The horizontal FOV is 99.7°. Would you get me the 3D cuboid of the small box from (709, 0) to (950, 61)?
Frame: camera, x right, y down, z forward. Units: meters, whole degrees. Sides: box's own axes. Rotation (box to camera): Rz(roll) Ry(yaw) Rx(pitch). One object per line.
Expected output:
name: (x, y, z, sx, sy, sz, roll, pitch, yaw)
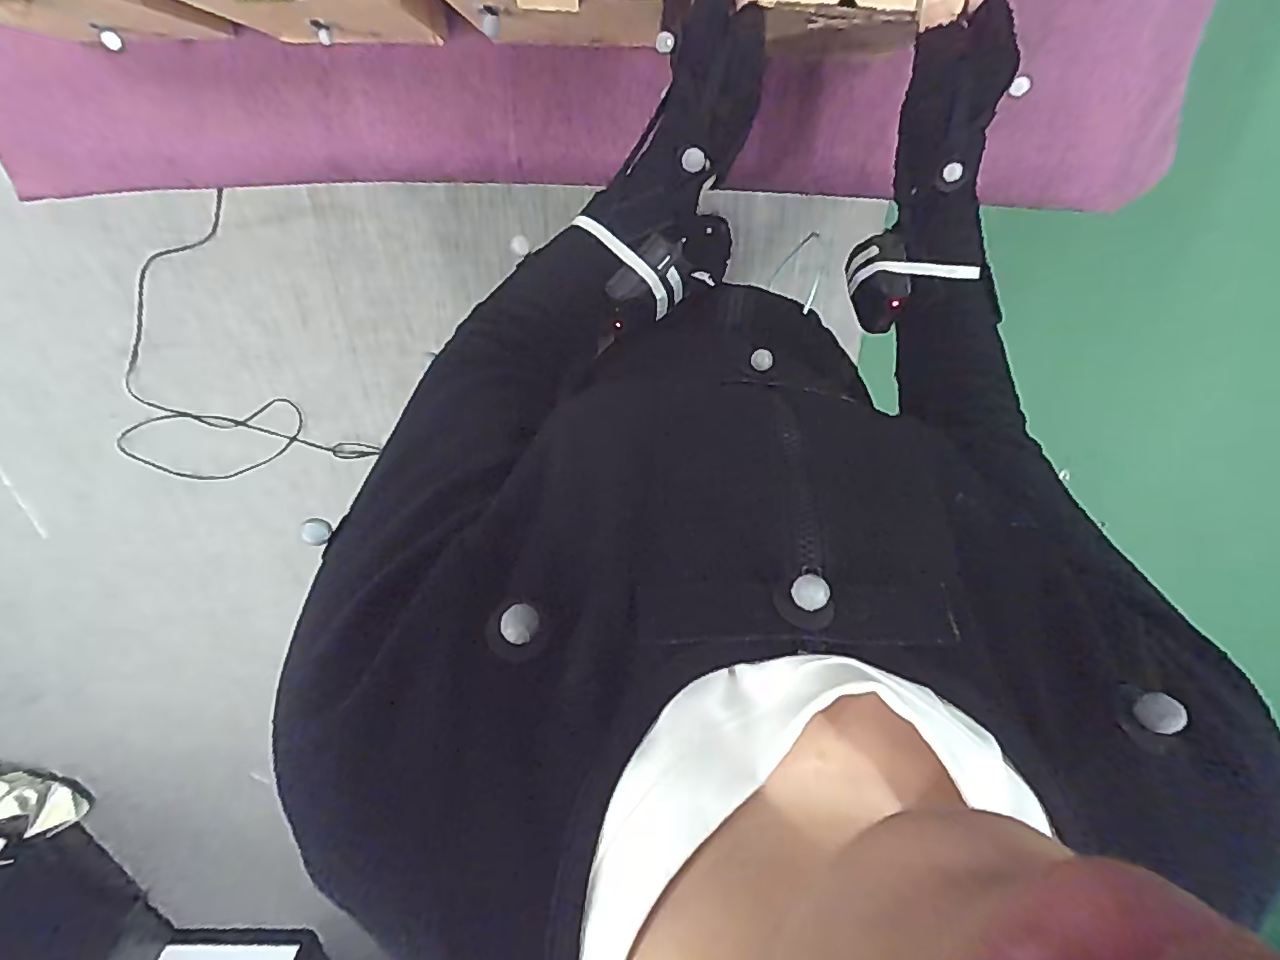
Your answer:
small box: (0.149, -0.453, 0.421, 0.168, 0.176, 0.179, 4, 117, -1)
